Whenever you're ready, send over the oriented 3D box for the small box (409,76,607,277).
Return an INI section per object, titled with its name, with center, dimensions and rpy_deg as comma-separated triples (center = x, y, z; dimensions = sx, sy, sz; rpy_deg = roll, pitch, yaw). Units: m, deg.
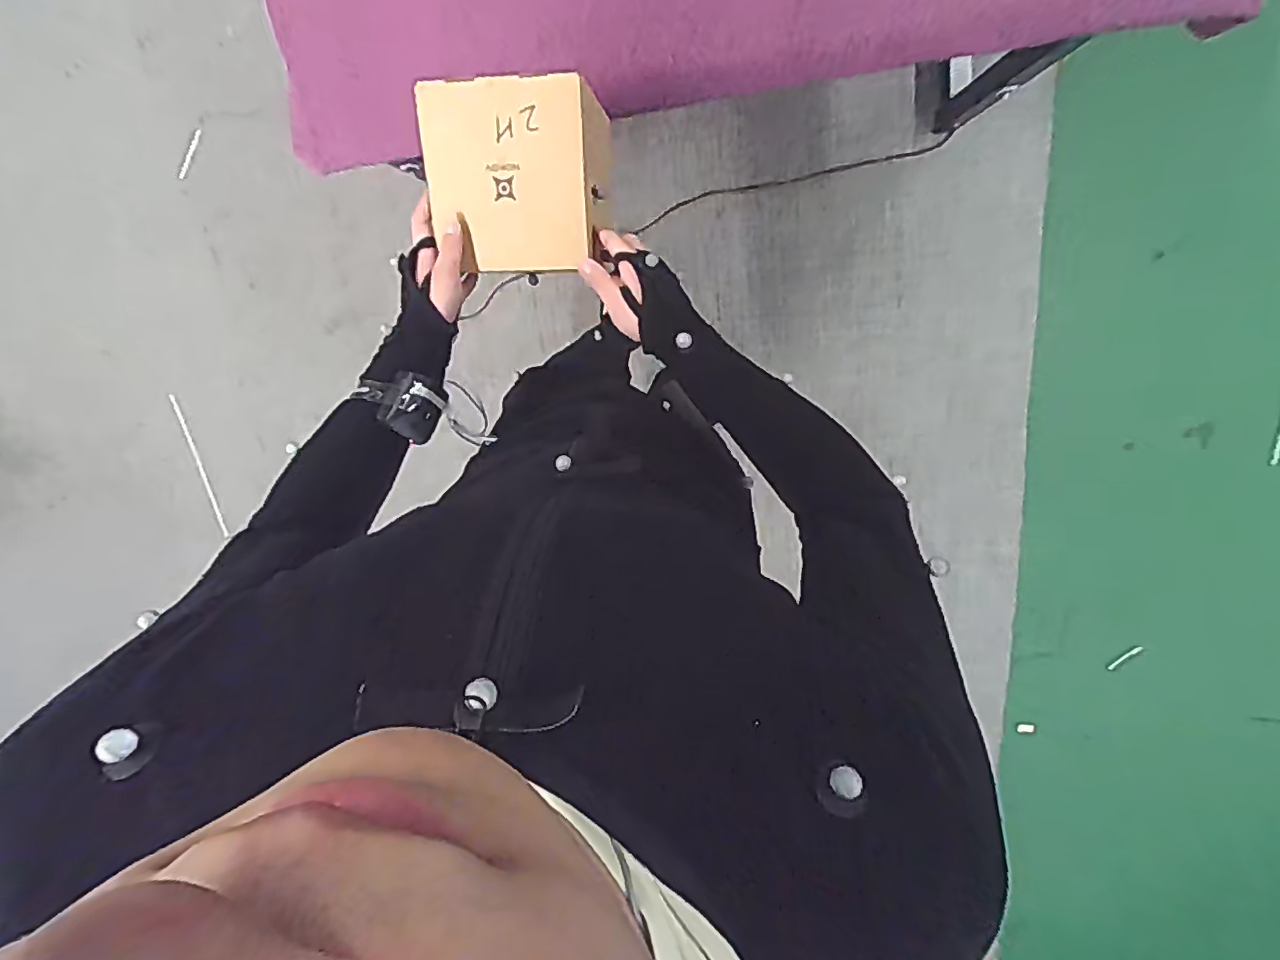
[small box]
center = -0.132, -0.326, 0.614
dimensions = 0.168, 0.176, 0.179
rpy_deg = 2, 111, 6
